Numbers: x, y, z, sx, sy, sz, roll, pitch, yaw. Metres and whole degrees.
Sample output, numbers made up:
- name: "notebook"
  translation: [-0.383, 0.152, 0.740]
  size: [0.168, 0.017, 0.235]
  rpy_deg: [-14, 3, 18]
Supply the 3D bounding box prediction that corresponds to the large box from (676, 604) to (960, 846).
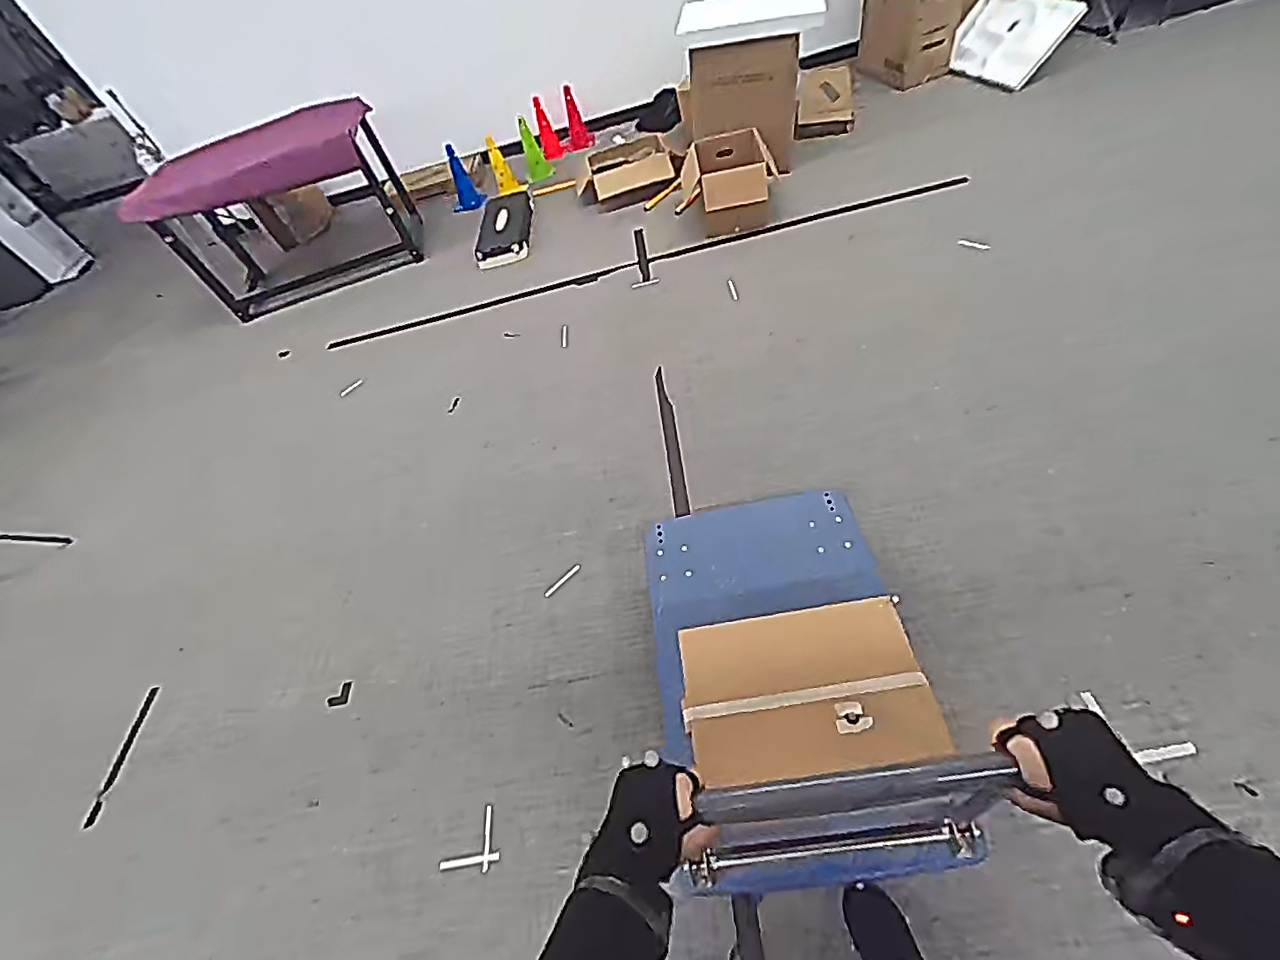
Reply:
- name: "large box"
  translation: [0.302, 0.475, 1.031]
  size: [0.408, 0.320, 0.320]
  rpy_deg: [-11, 51, 6]
